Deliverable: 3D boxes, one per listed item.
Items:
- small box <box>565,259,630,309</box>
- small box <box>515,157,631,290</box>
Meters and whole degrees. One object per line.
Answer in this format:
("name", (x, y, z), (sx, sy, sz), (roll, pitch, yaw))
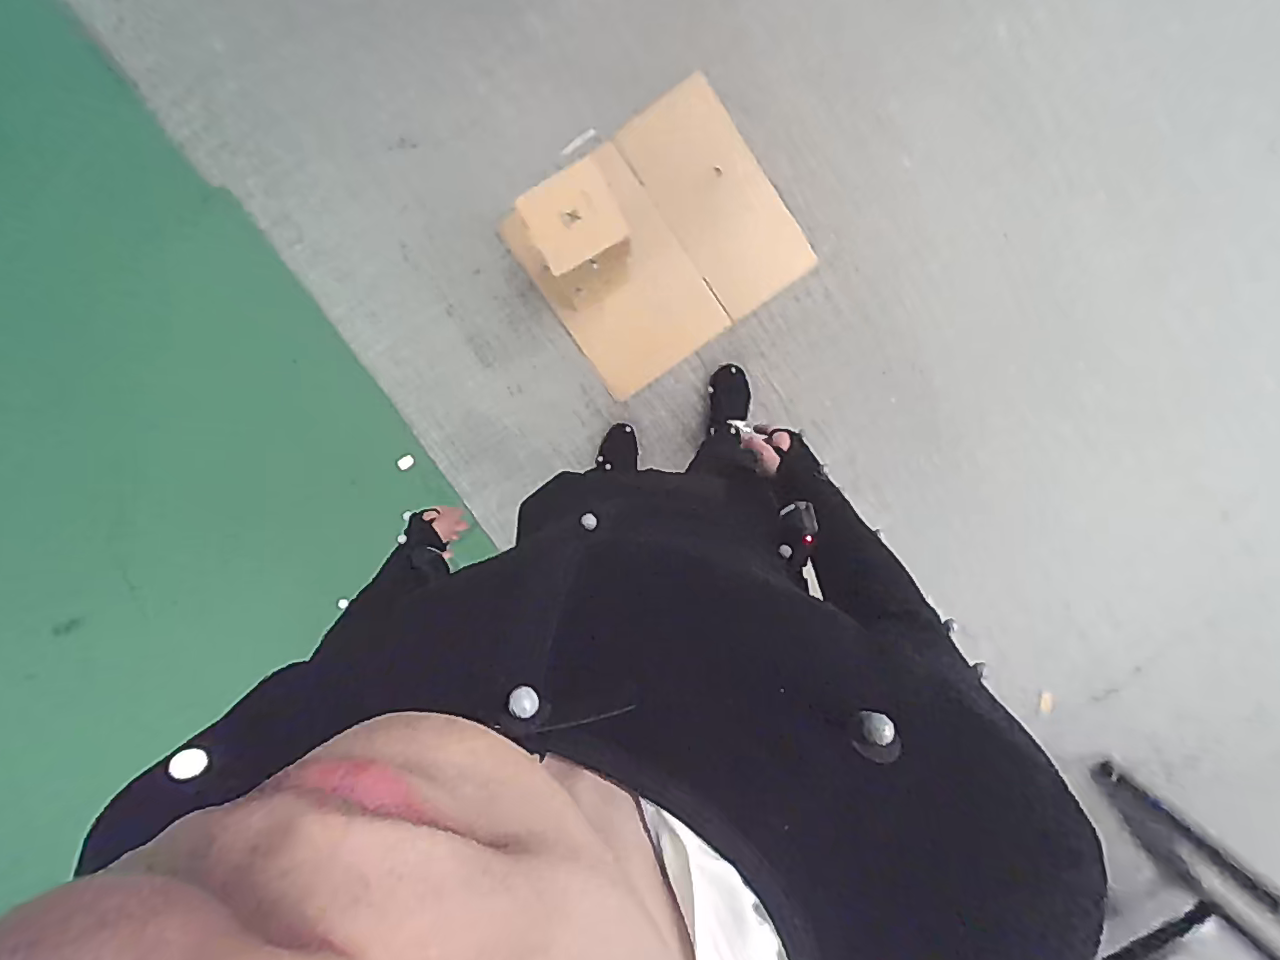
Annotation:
("small box", (-0.138, -0.582, 1.451), (0.179, 0.176, 0.168), (-30, 97, 4))
("small box", (-0.130, -0.521, 1.129), (0.179, 0.176, 0.168), (-28, 98, 5))
